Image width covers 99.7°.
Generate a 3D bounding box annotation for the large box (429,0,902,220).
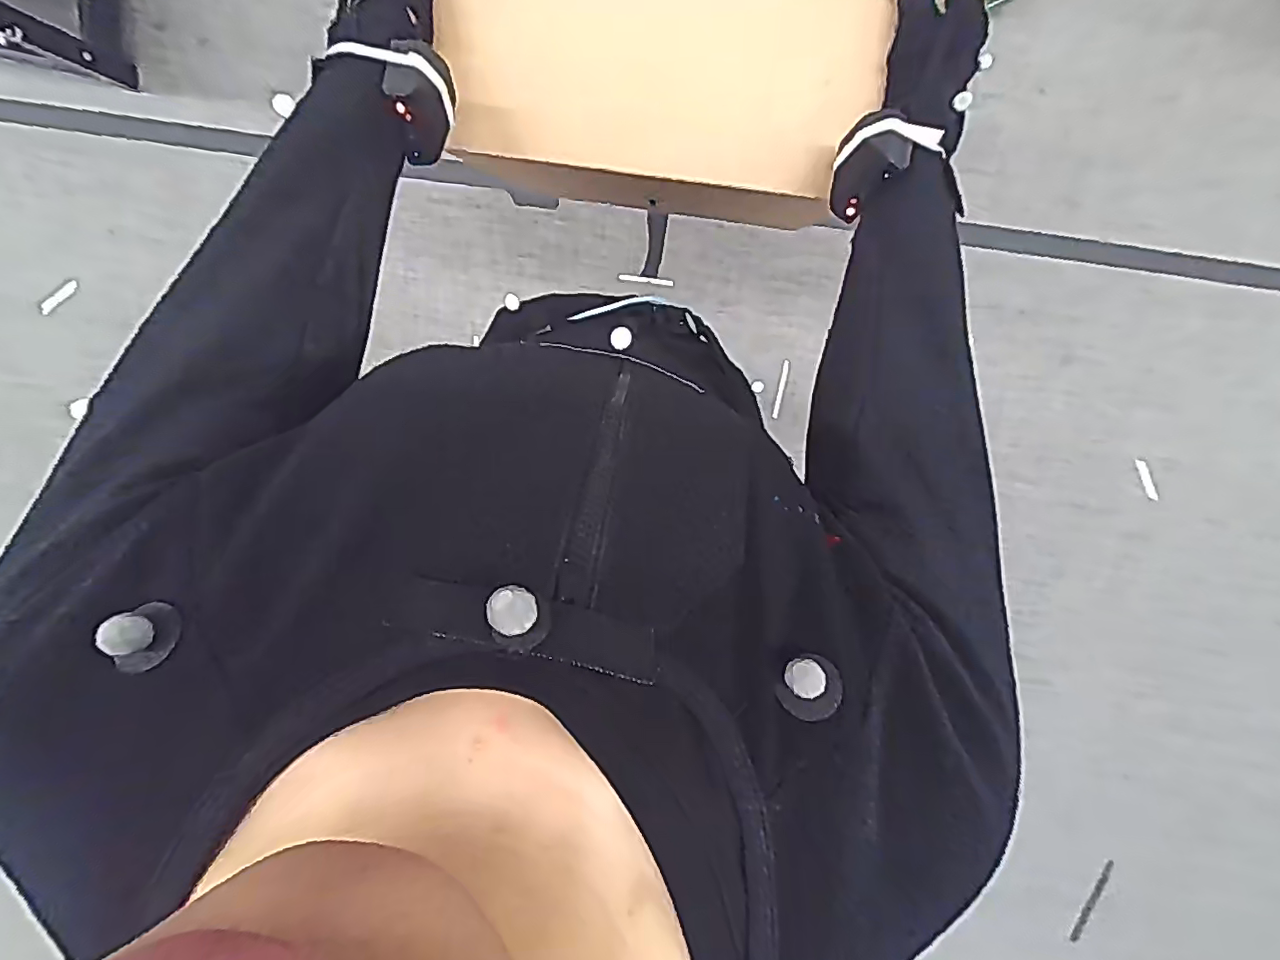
[{"bbox_3d":[0.035,-0.481,0.583,0.408,0.320,0.320,9,110,1],"label":"large box"}]
